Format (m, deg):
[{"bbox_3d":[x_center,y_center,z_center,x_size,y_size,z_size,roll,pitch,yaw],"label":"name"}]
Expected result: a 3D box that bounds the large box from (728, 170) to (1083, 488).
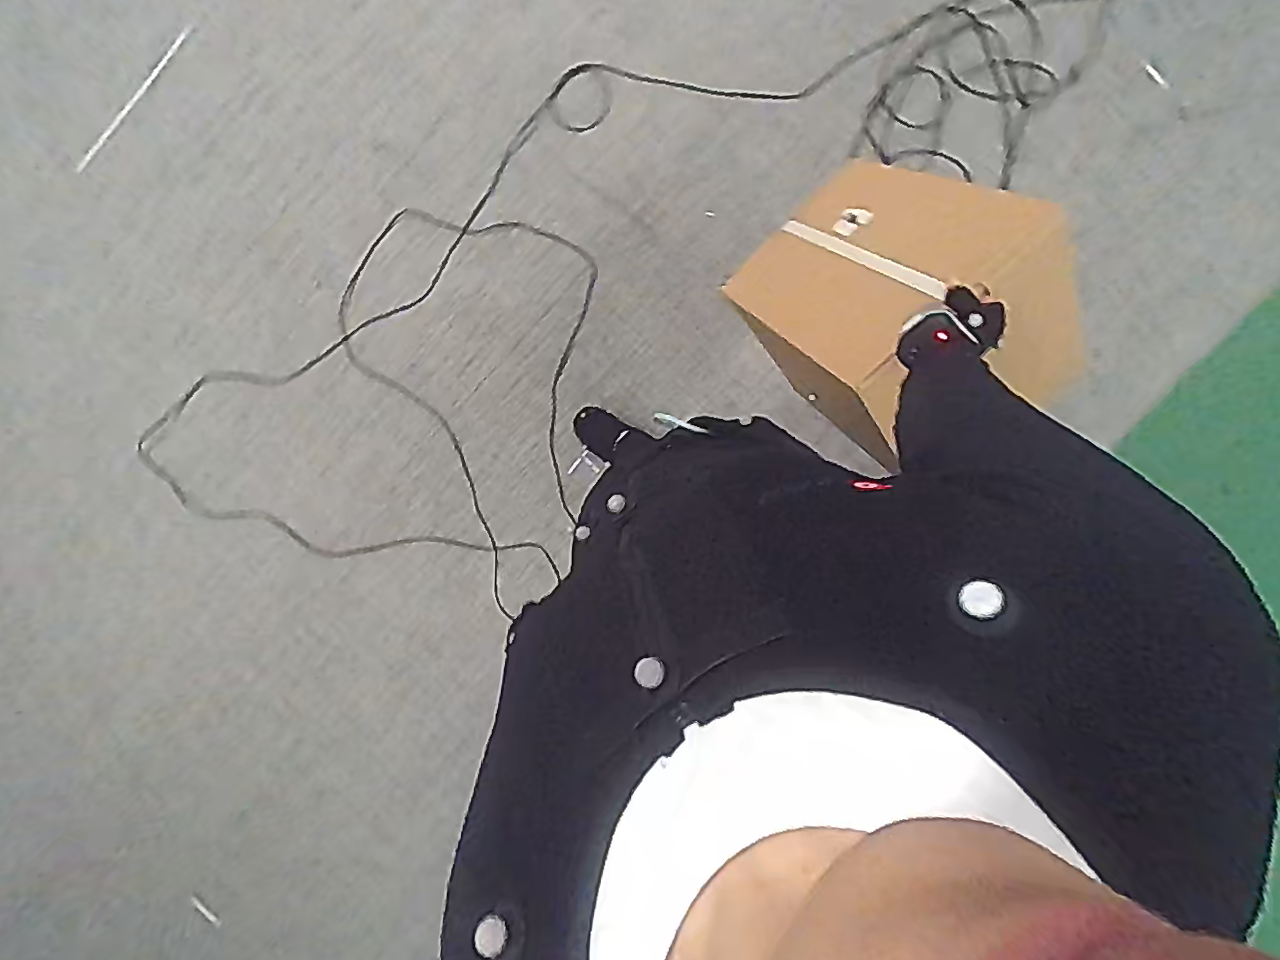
[{"bbox_3d":[0.427,-0.261,0.921,0.320,0.408,0.320,-41,129,11],"label":"large box"}]
